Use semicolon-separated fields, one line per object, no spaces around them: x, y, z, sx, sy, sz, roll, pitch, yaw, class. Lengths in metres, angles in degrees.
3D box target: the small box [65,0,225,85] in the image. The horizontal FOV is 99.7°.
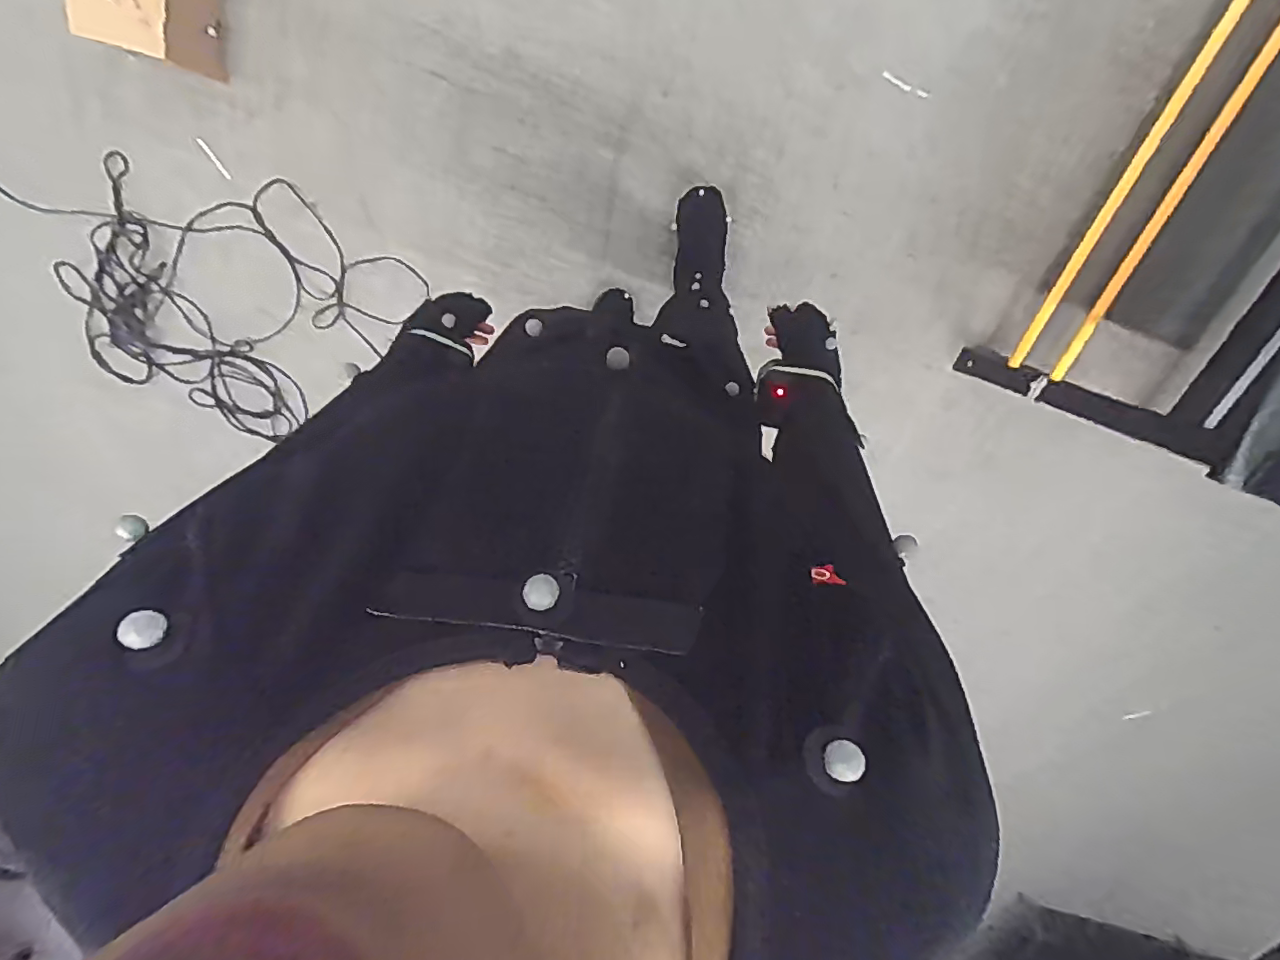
-0.964;-0.911;1.062;0.179;0.176;0.168;13;113;-6;small box
